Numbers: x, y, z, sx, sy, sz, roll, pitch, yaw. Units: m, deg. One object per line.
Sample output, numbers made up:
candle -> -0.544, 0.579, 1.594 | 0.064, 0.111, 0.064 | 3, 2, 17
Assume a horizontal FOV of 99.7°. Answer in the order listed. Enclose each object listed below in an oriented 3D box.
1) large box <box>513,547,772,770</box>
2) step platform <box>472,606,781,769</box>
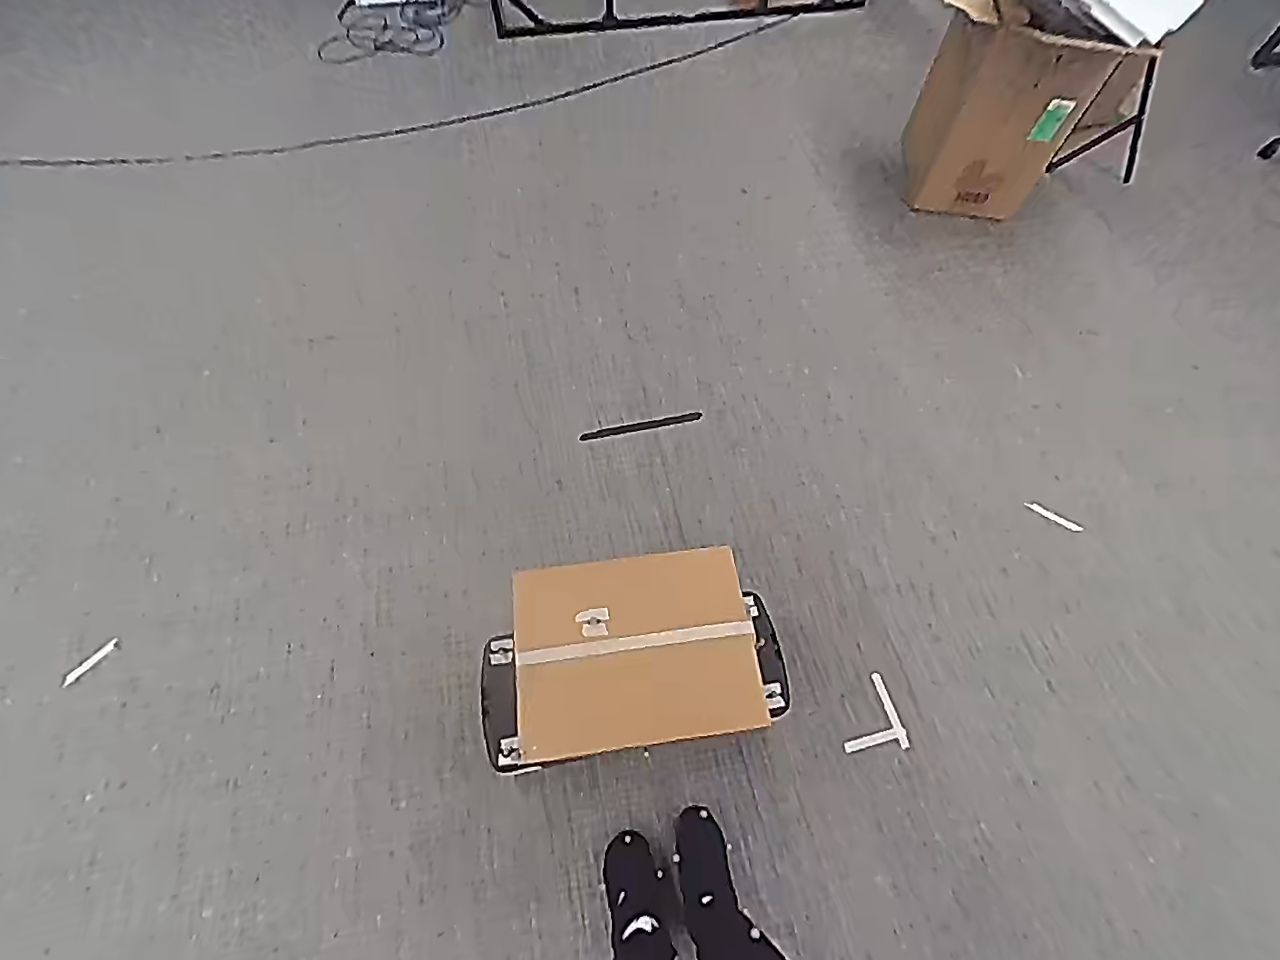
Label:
large box -> -0.007, 0.349, 1.040 | 0.408, 0.320, 0.320 | -7, 62, -4
step platform -> -0.029, 0.473, 1.244 | 0.684, 0.204, 0.286 | -5, 63, -3
